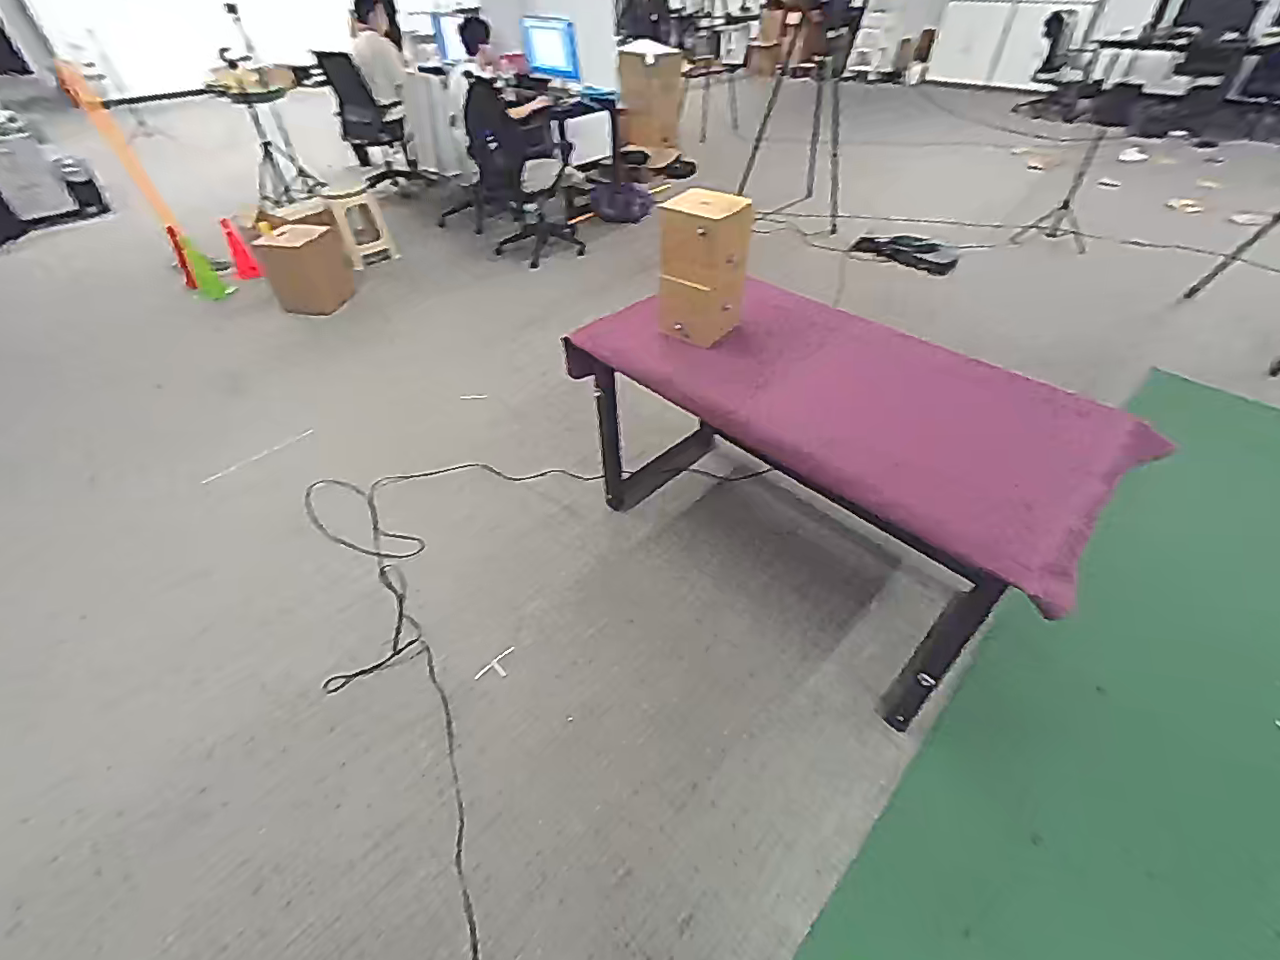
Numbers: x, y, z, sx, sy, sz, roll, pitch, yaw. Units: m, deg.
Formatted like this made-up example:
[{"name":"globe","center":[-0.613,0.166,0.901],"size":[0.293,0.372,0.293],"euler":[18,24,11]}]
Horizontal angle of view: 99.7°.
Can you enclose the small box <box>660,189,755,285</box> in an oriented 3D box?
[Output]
[{"name":"small box","center":[0.166,-0.611,1.361],"size":[0.179,0.176,0.168],"euler":[27,52,27]}]
